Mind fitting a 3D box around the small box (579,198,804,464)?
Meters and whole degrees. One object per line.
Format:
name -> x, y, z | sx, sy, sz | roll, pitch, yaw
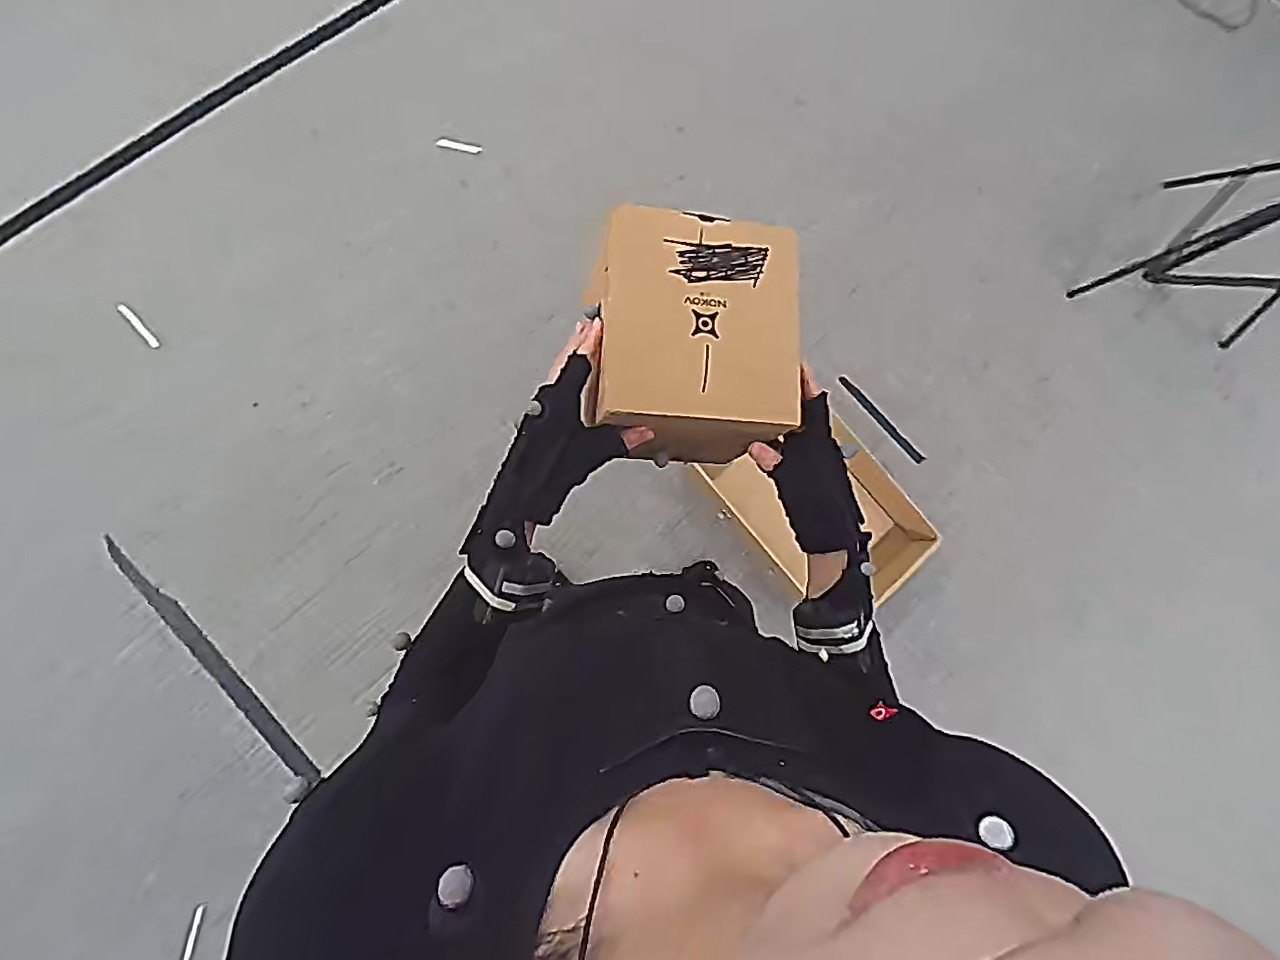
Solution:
small box -> 0.035, -0.121, 0.509 | 0.168, 0.176, 0.179 | 3, 80, -13
